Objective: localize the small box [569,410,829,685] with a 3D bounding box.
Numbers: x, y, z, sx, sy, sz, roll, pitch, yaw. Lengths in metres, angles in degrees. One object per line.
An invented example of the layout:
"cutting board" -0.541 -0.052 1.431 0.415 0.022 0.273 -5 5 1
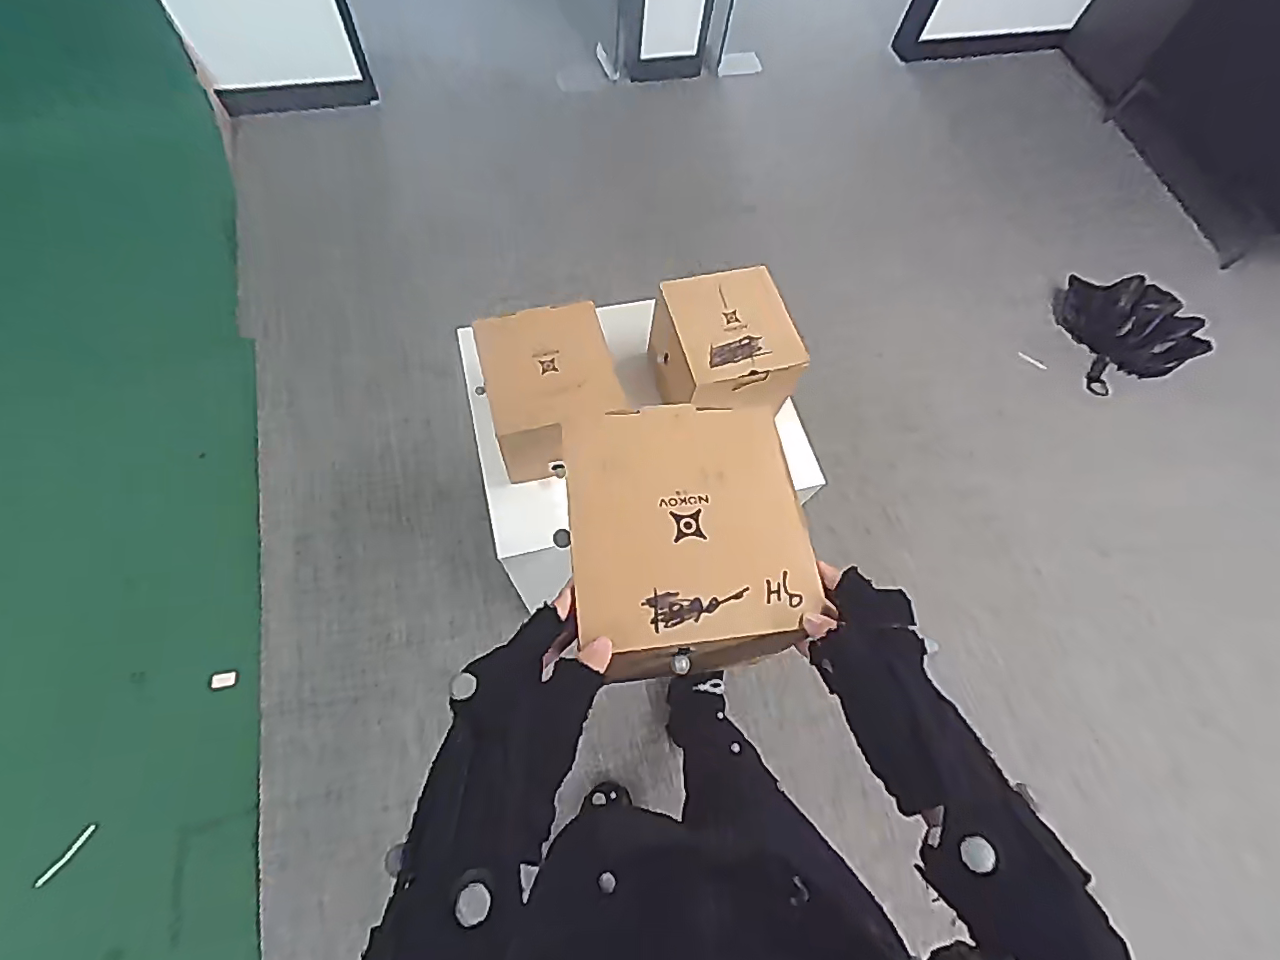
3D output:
"small box" 0.028 0.063 0.455 0.168 0.176 0.179 -5 64 -7

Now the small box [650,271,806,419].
"small box" 0.119 -0.177 0.812 0.168 0.176 0.179 -13 69 -10

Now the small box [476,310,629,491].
"small box" -0.122 -0.106 0.766 0.168 0.176 0.179 -15 71 -10
